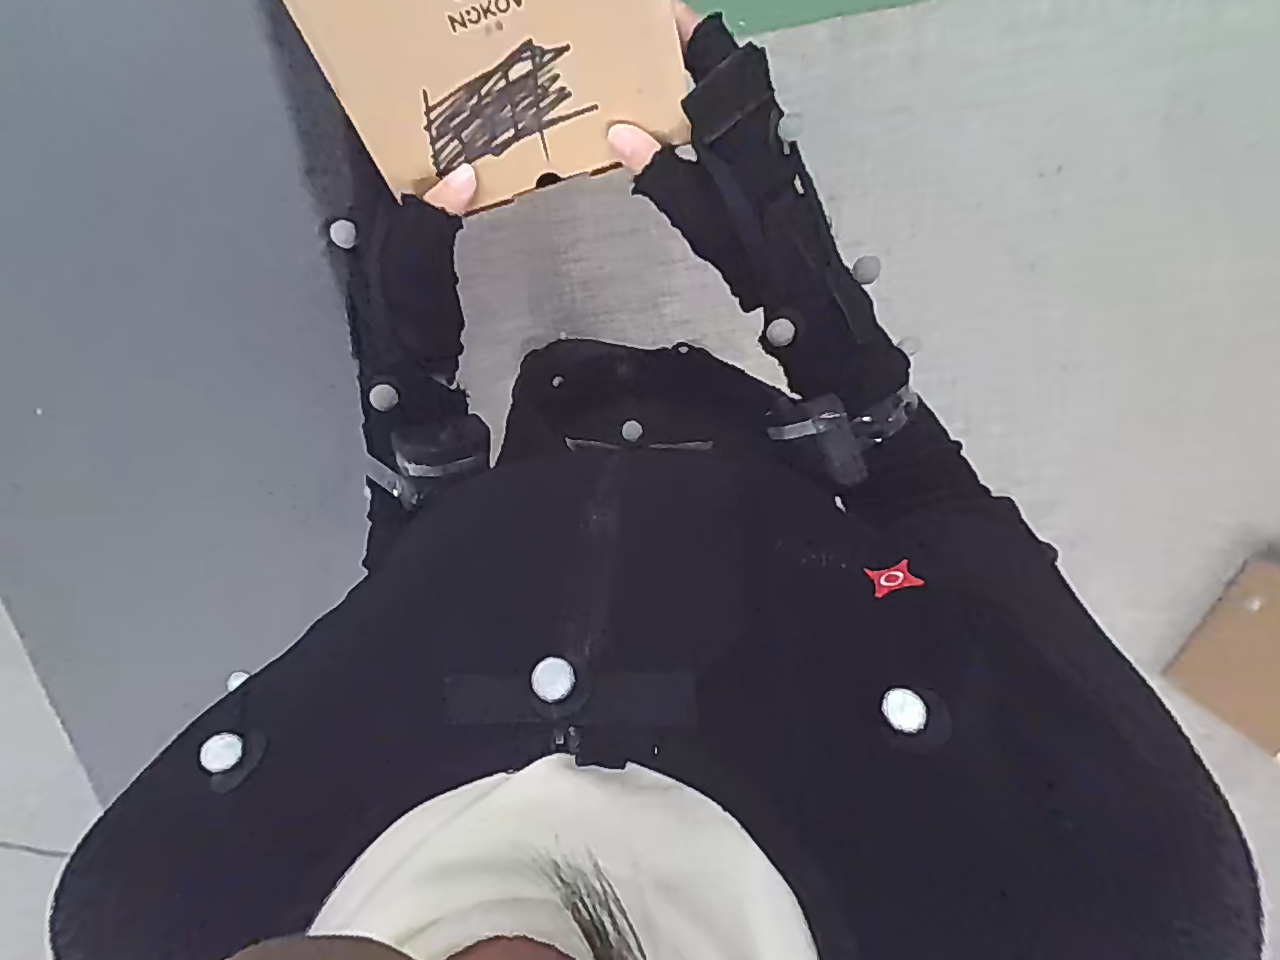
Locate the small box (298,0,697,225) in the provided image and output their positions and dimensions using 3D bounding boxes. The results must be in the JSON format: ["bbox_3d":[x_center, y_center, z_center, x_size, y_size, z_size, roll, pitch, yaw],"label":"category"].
[{"bbox_3d":[-0.072,-0.281,0.296,0.168,0.176,0.179,-14,135,12],"label":"small box"}]
